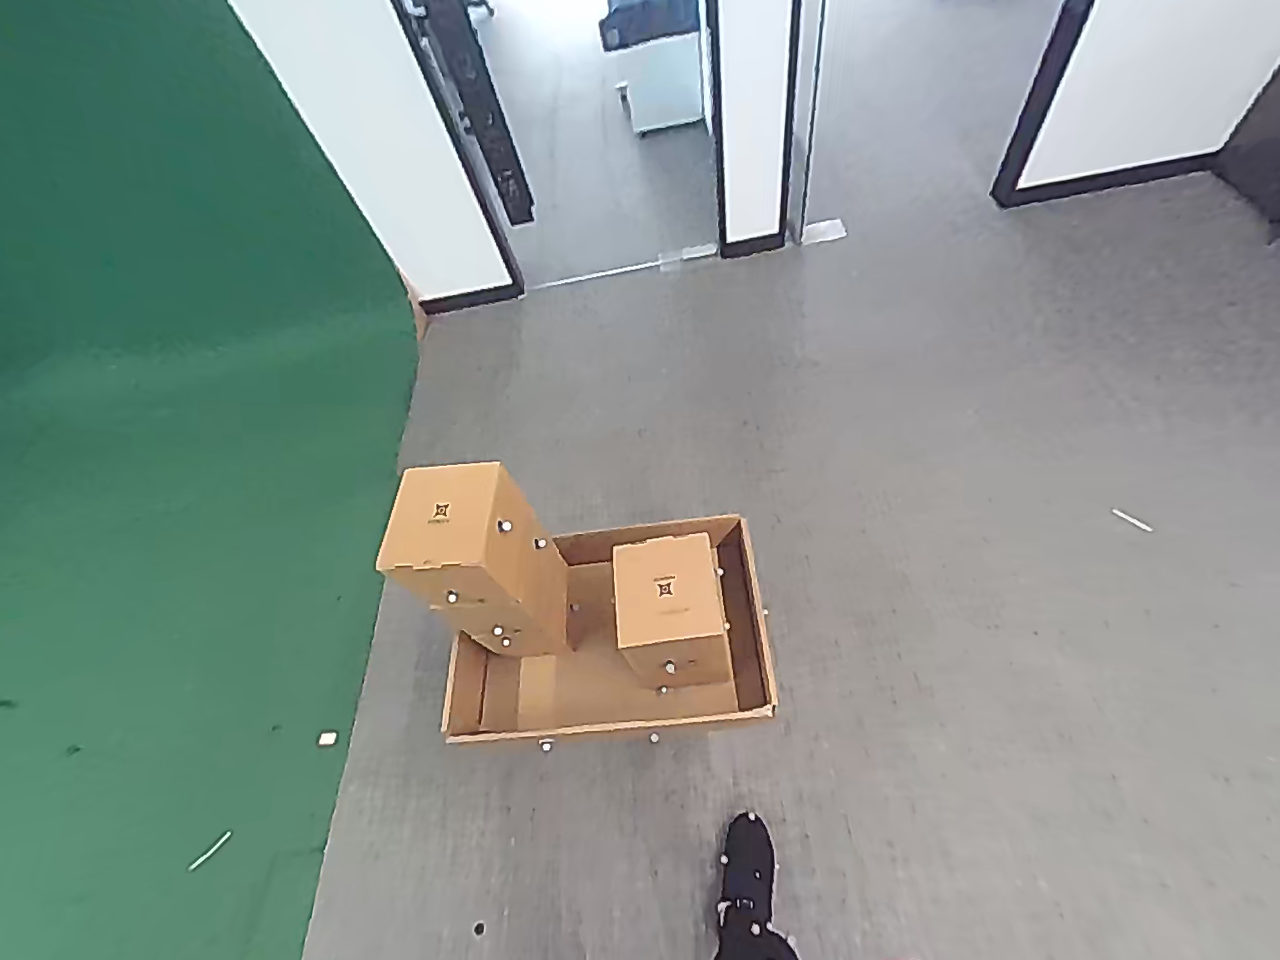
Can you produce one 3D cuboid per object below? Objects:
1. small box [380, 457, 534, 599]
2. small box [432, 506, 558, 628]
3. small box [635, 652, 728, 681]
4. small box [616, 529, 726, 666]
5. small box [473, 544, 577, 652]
[{"bbox_3d":[-0.282,0.082,0.883,0.168,0.176,0.179,-3,59,9],"label":"small box"},{"bbox_3d":[-0.259,0.168,1.018,0.168,0.176,0.179,-4,58,9],"label":"small box"},{"bbox_3d":[0.081,0.291,1.070,0.168,0.176,0.179,-7,56,6],"label":"small box"},{"bbox_3d":[0.055,0.206,0.933,0.168,0.176,0.179,-8,57,6],"label":"small box"},{"bbox_3d":[-0.235,0.255,1.155,0.168,0.176,0.179,-6,57,7],"label":"small box"}]
